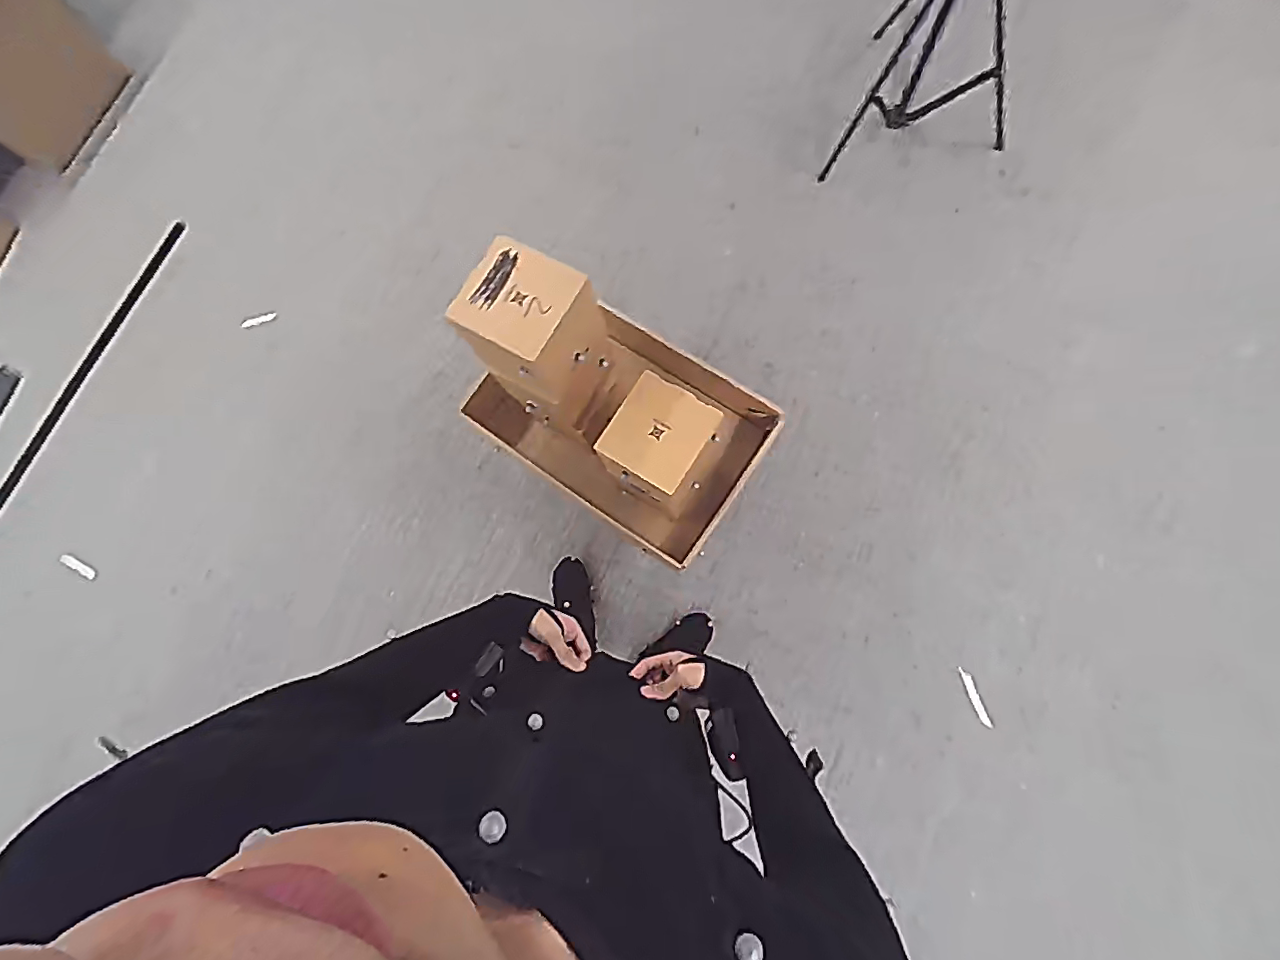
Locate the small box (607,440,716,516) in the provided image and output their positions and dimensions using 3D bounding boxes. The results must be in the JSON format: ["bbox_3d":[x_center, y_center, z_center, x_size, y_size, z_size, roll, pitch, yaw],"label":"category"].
[{"bbox_3d":[0.052,-0.038,1.183,0.168,0.176,0.179,31,82,11],"label":"small box"}]

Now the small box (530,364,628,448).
[{"bbox_3d":[-0.145,-0.193,1.232,0.179,0.176,0.168,31,83,10],"label":"small box"}]

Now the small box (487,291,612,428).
[{"bbox_3d":[-0.167,-0.232,1.075,0.168,0.176,0.179,28,82,11],"label":"small box"}]

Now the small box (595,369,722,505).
[{"bbox_3d":[0.040,-0.071,1.024,0.168,0.176,0.179,32,82,11],"label":"small box"}]
